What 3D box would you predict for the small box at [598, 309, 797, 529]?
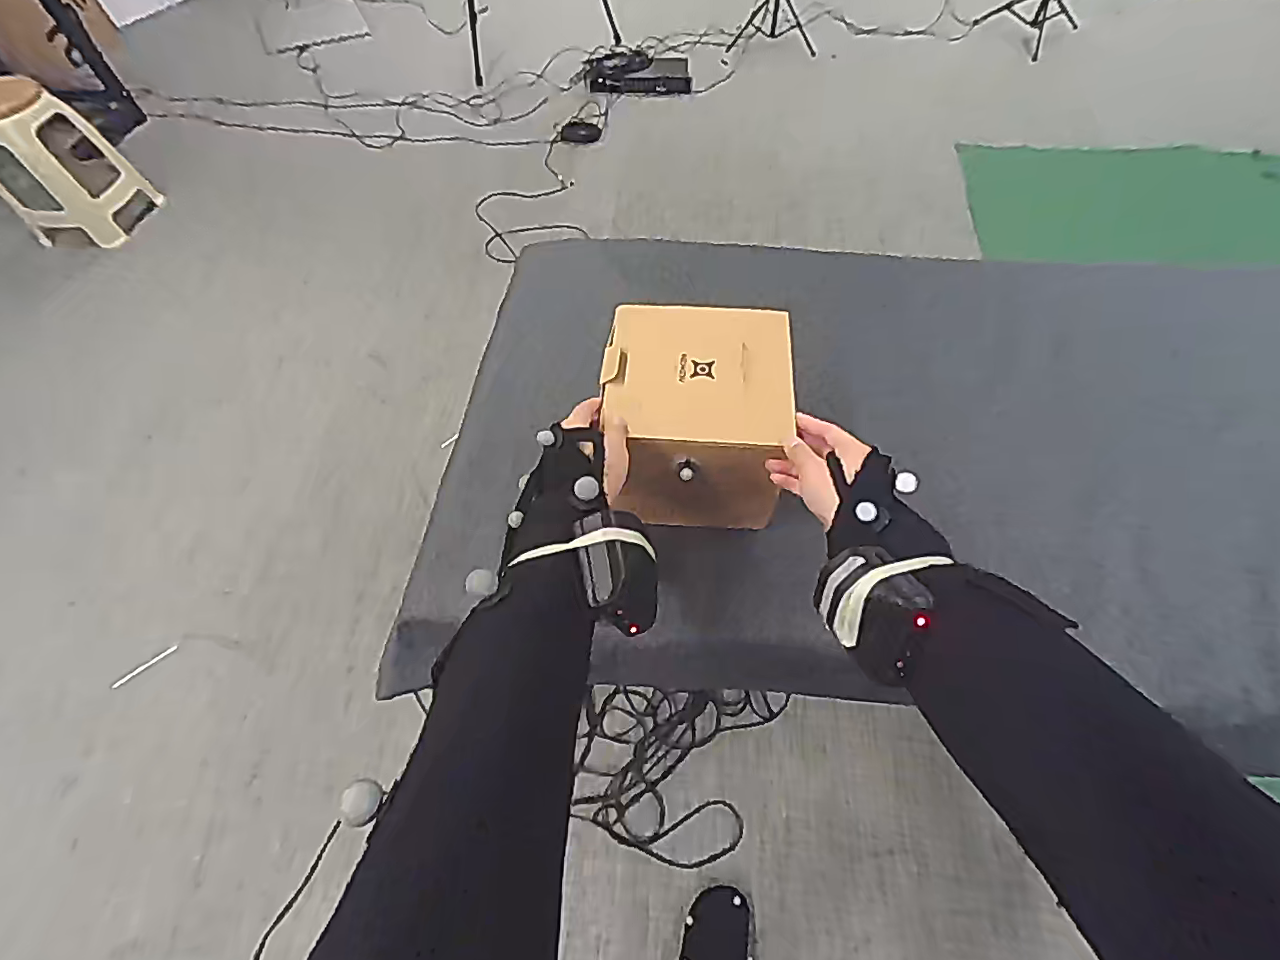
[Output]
[{"bbox_3d":[0.058,-0.058,0.574,0.179,0.176,0.168,4,60,3],"label":"small box"}]
